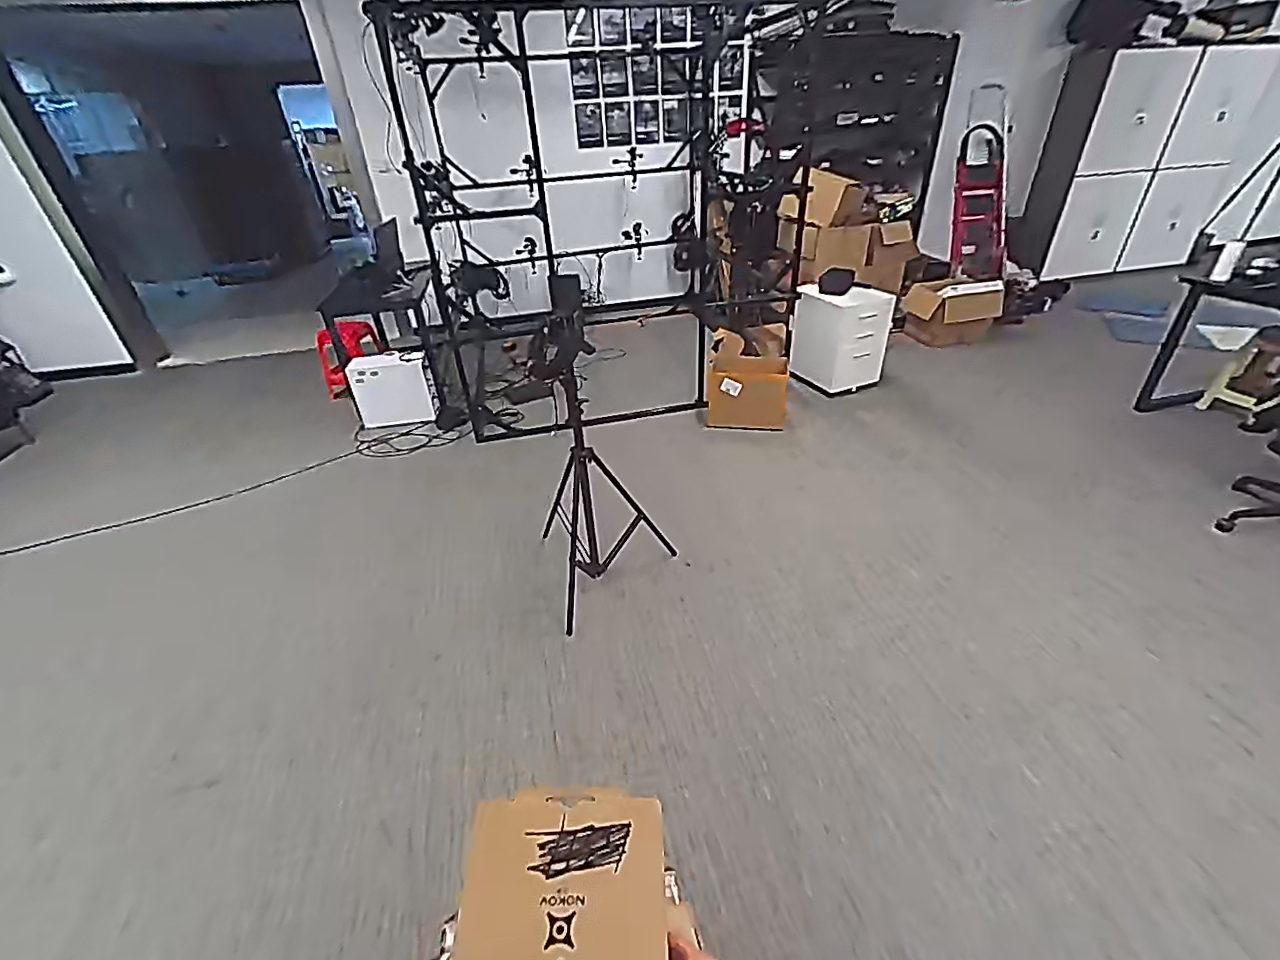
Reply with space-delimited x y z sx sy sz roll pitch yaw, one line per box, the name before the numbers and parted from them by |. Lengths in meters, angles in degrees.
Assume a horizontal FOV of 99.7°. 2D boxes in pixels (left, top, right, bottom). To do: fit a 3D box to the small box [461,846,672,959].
small box | -0.059 0.440 0.453 0.168 0.176 0.179 0 37 -2
